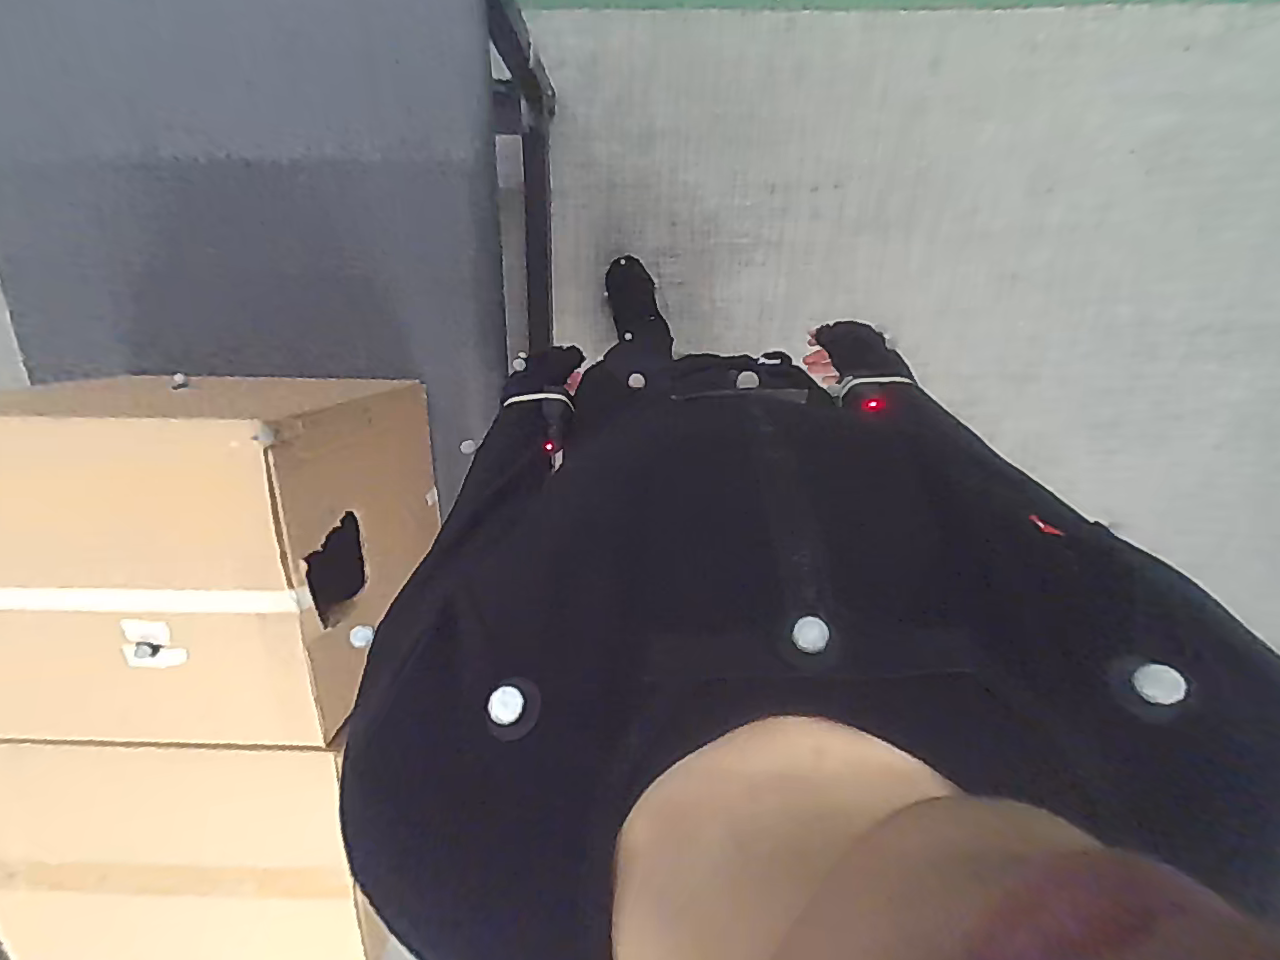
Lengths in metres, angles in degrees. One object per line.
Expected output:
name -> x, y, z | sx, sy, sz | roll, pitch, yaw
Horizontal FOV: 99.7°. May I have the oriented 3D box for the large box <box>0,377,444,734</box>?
large box -> -0.484, 0.051, 0.609 | 0.408, 0.320, 0.320 | 0, 107, 0
